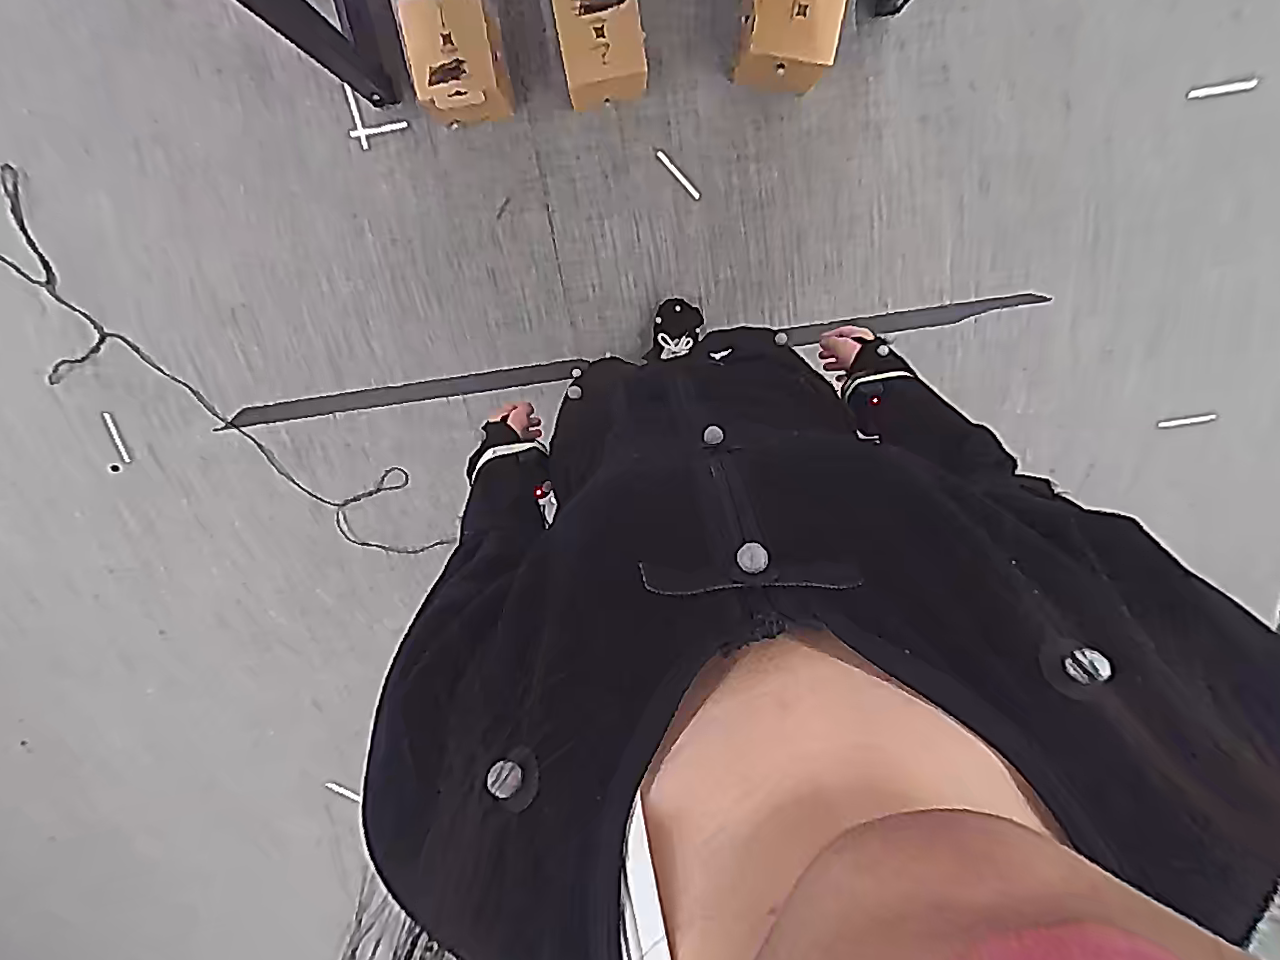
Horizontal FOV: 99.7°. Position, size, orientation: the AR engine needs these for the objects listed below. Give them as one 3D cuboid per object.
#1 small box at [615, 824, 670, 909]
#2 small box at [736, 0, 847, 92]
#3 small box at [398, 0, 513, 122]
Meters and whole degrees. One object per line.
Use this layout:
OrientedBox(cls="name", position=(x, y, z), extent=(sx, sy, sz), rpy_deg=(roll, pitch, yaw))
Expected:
OrientedBox(cls="small box", position=(0.009, 1.354, 1.900), extent=(0.168, 0.176, 0.179), rpy_deg=(-10, 110, 2))
OrientedBox(cls="small box", position=(0.313, -0.945, 1.133), extent=(0.179, 0.176, 0.168), rpy_deg=(8, 109, -2))
OrientedBox(cls="small box", position=(-0.376, -0.880, 1.138), extent=(0.168, 0.176, 0.179), rpy_deg=(-8, 107, 1))
